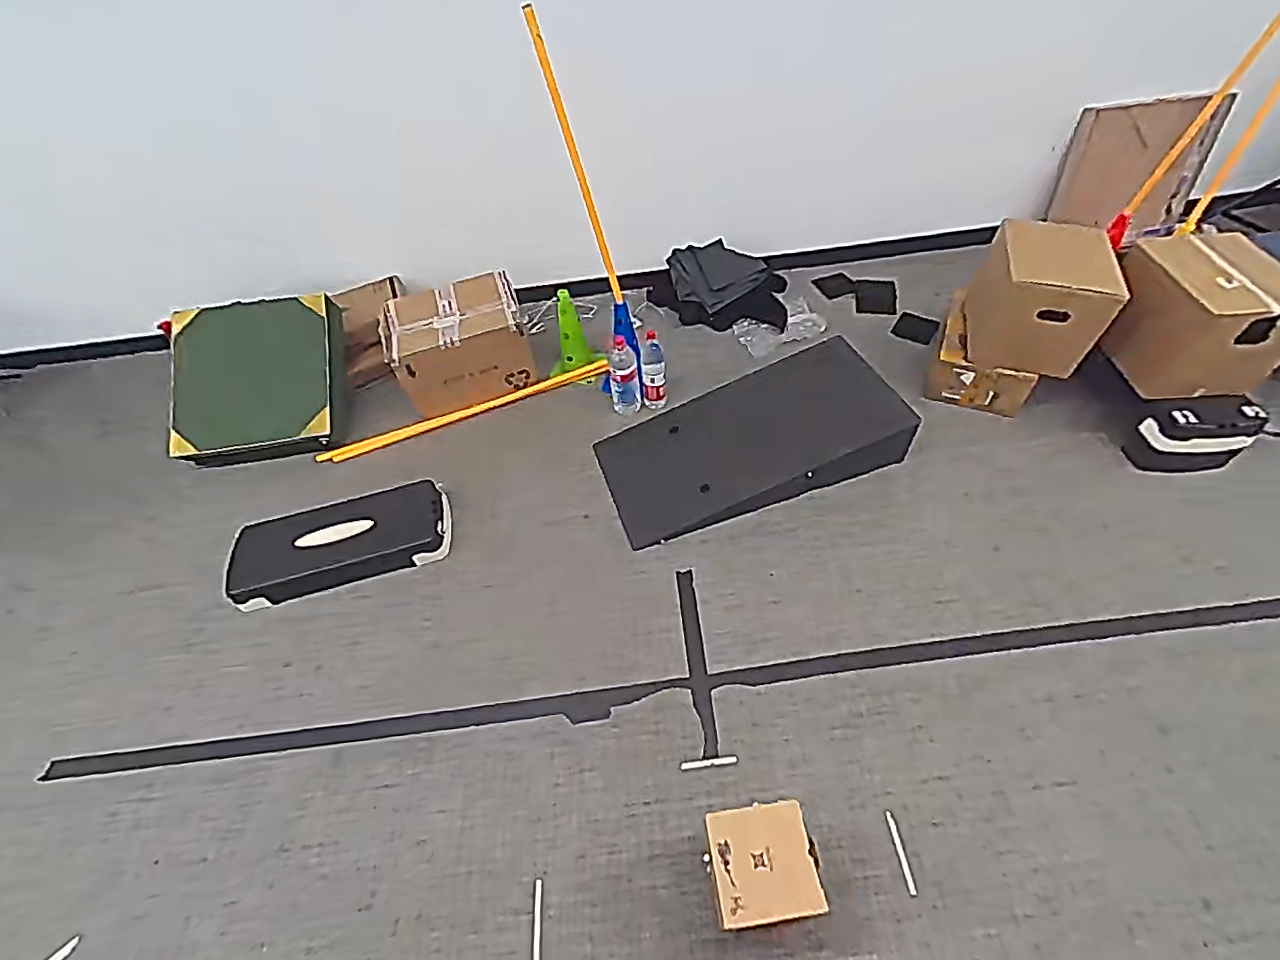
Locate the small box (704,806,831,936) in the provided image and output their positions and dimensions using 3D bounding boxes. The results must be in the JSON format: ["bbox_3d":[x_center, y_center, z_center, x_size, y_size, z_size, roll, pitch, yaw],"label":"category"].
[{"bbox_3d":[0.218,0.705,0.978,0.179,0.176,0.168,-8,50,-2],"label":"small box"}]
